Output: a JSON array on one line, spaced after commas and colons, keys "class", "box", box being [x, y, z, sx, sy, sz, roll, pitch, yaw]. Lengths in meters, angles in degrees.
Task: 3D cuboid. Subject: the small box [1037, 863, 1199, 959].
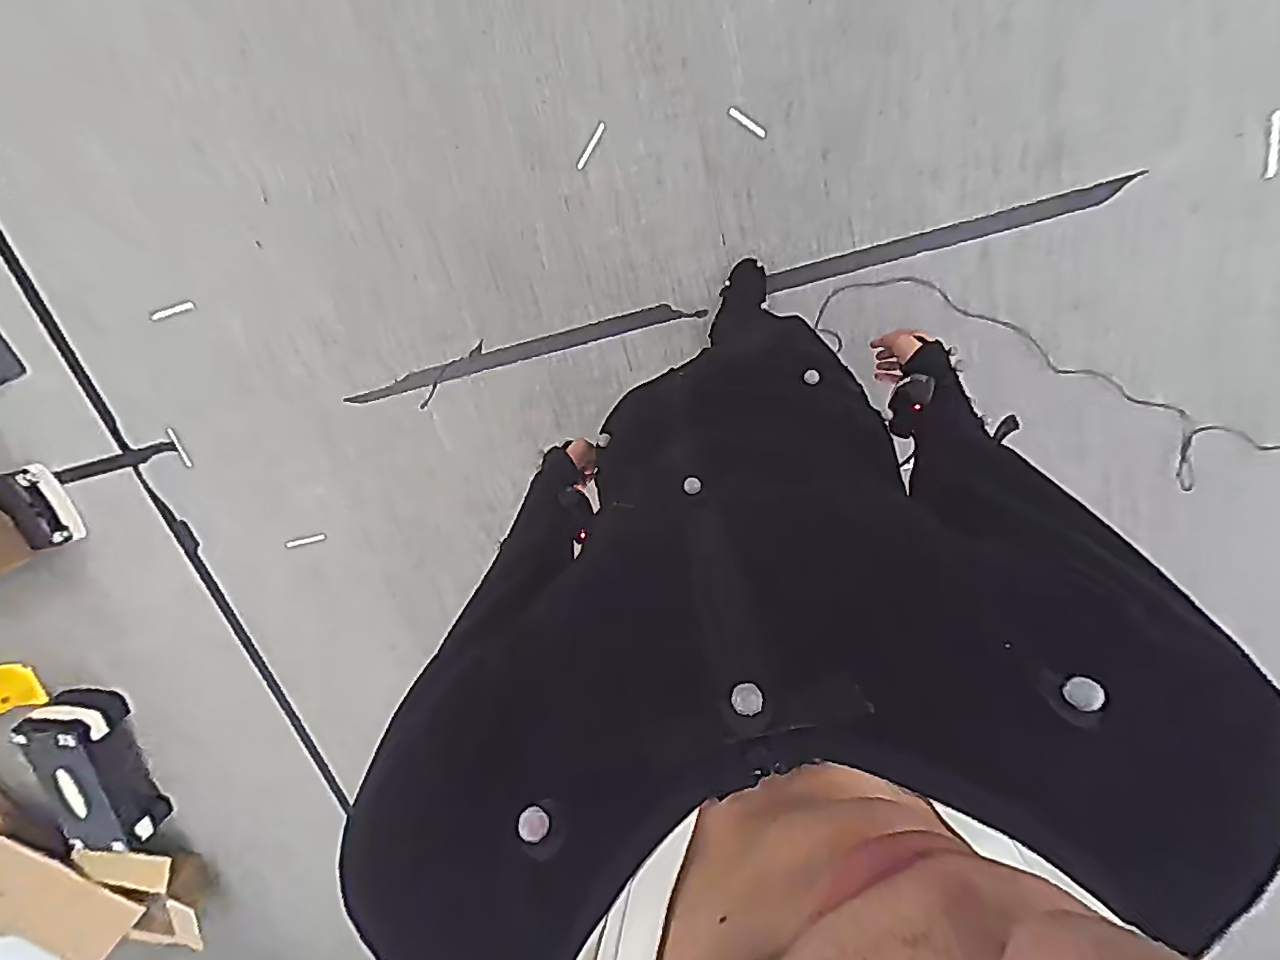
[{"class": "small box", "box": [0.906, 0.876, 1.044, 0.168, 0.176, 0.179, -7, 109, 8]}]
